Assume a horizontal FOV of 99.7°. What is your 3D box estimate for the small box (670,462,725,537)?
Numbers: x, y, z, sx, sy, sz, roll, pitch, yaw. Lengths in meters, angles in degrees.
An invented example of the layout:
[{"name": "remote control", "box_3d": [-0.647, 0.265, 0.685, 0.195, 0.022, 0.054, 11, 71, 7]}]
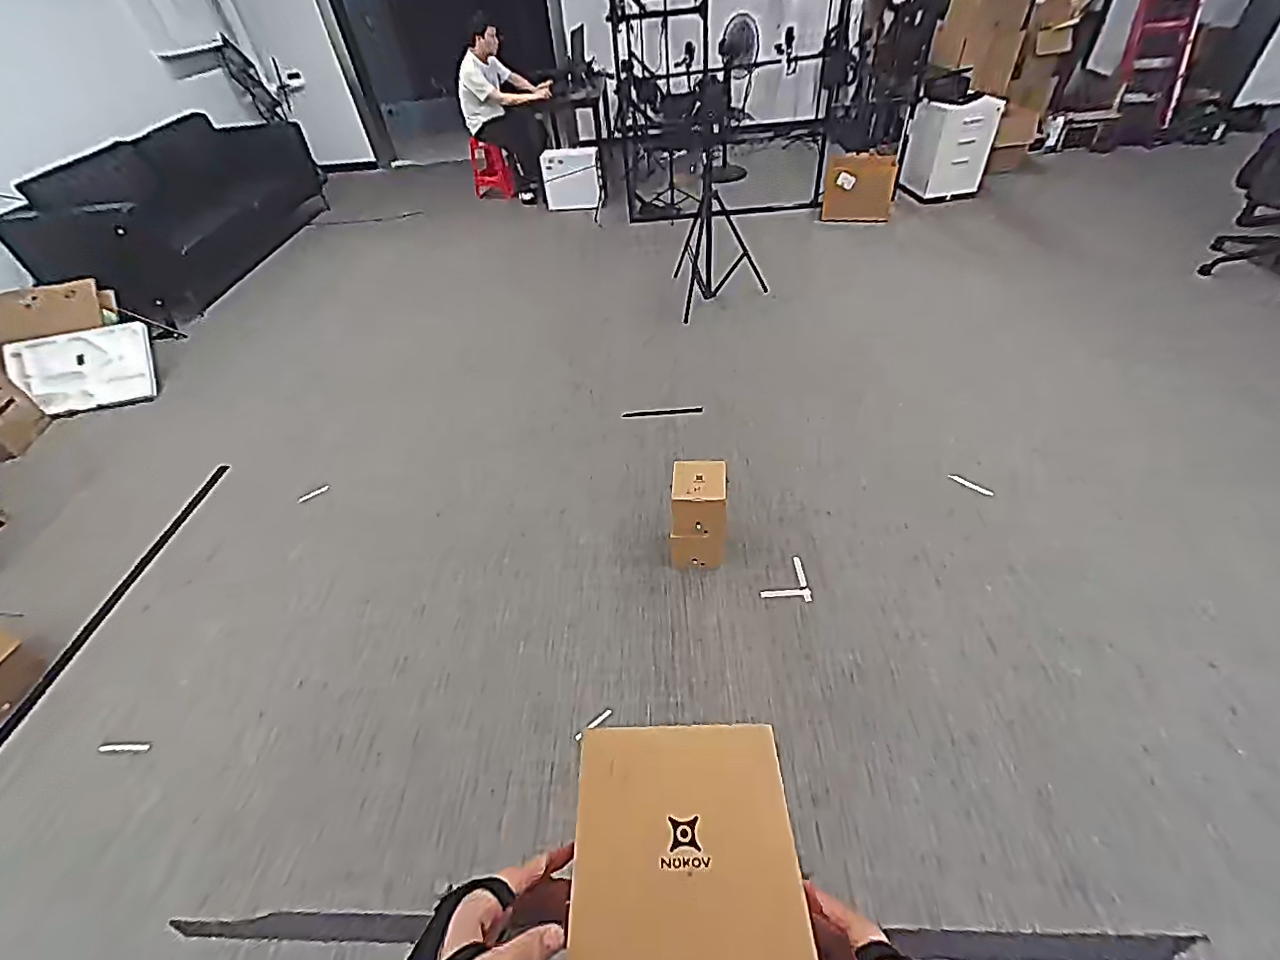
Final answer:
[{"name": "small box", "box_3d": [0.187, 0.062, 1.731, 0.168, 0.176, 0.179, 0, 45, 8]}]
